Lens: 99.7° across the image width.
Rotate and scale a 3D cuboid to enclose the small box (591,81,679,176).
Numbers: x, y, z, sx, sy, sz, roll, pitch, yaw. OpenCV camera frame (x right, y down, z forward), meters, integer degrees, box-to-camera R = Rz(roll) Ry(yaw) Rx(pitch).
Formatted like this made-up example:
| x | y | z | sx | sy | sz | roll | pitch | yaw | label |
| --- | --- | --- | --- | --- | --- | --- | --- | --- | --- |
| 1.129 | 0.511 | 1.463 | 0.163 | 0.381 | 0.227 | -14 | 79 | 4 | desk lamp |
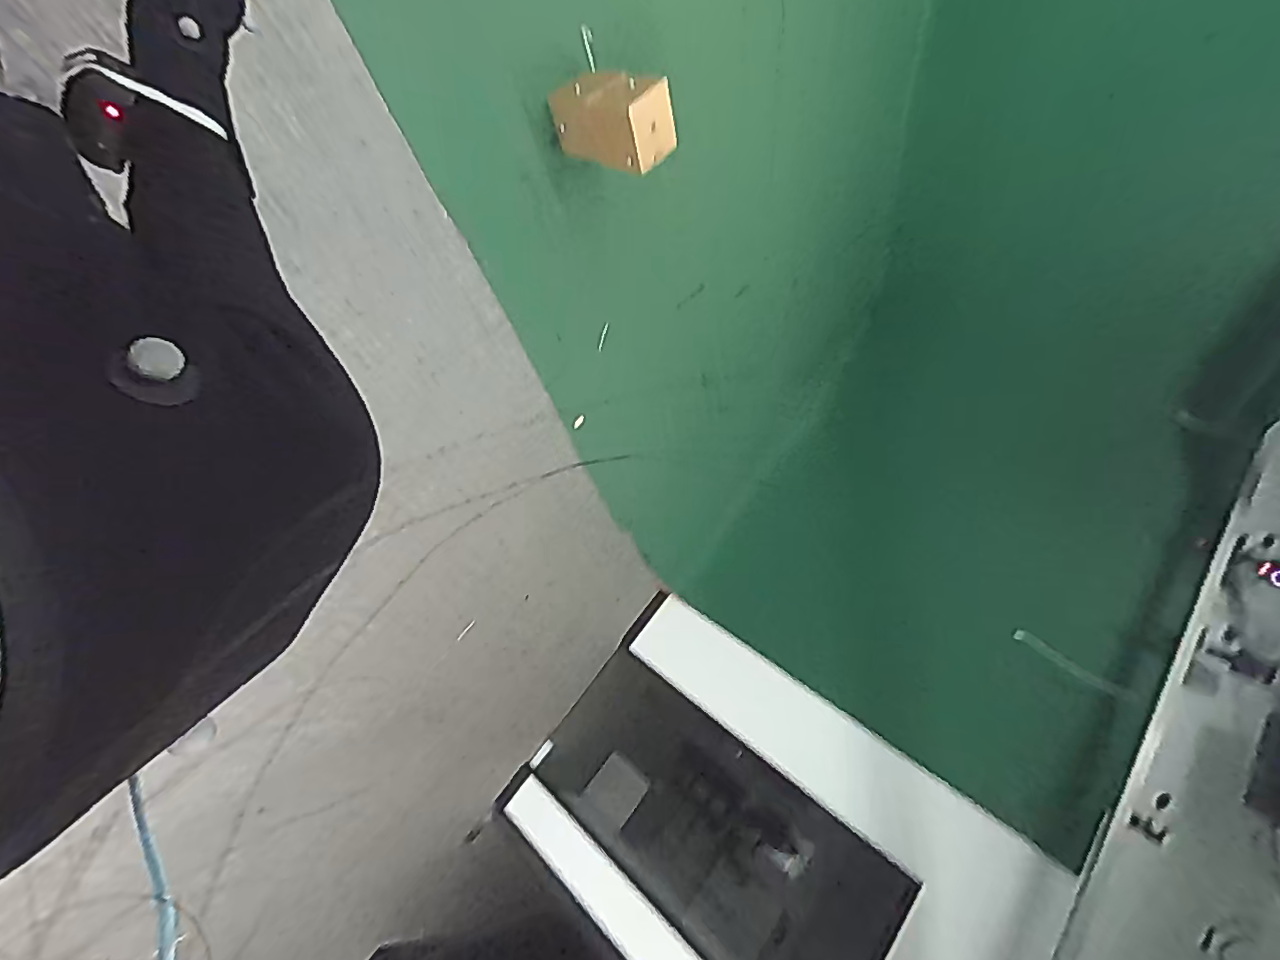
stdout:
| x | y | z | sx | sy | sz | roll | pitch | yaw | label |
| --- | --- | --- | --- | --- | --- | --- | --- | --- | --- |
| -0.015 | -1.004 | 1.540 | 0.168 | 0.176 | 0.179 | -48 | 148 | -18 | small box |
